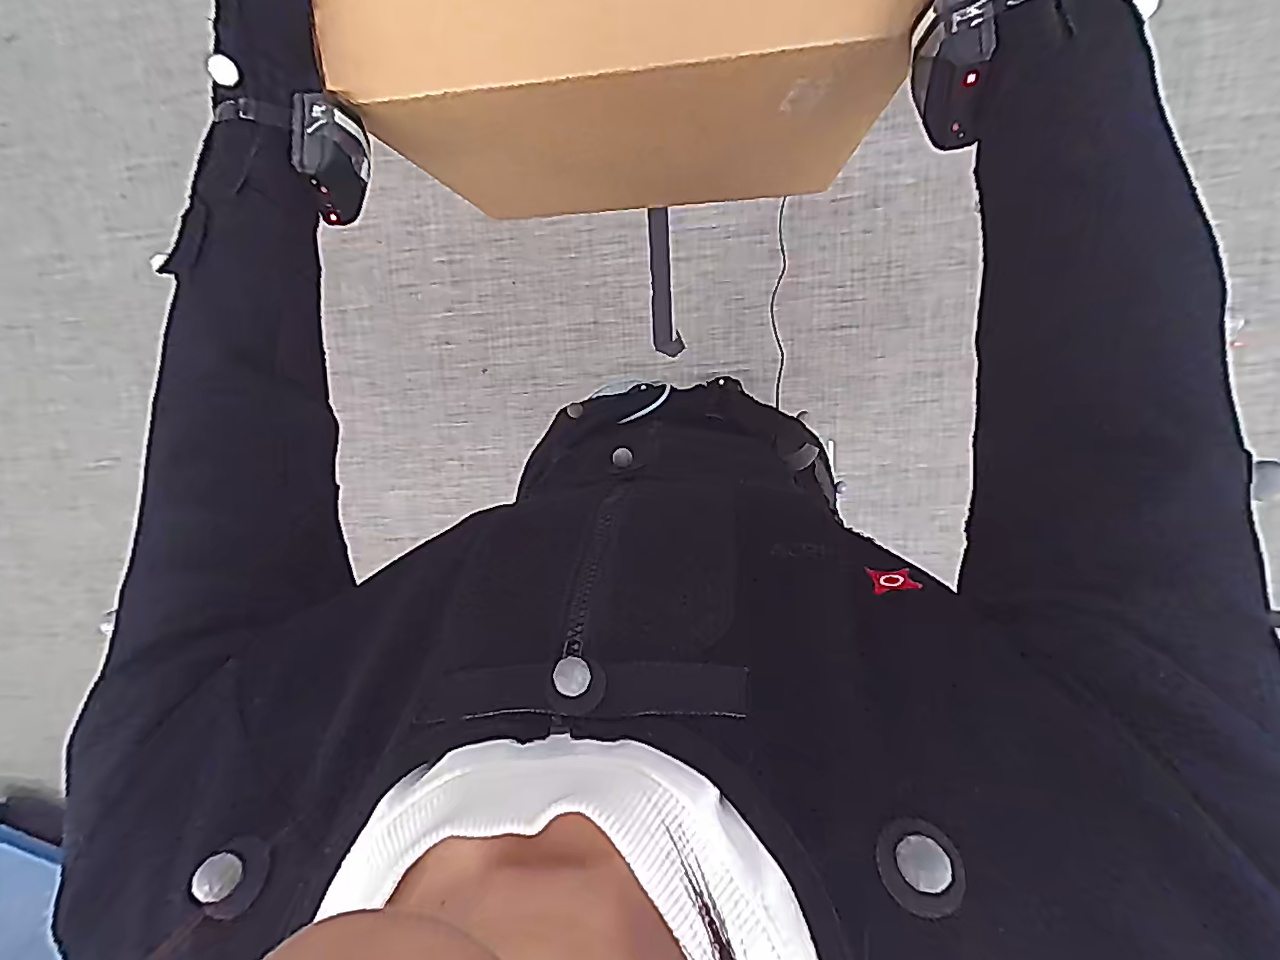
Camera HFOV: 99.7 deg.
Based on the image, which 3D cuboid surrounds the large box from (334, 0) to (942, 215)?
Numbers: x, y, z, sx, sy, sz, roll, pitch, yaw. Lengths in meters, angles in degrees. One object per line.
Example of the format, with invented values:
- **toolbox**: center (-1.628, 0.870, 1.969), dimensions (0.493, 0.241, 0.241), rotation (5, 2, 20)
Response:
- **large box**: center (-0.005, -0.456, 0.475), dimensions (0.408, 0.320, 0.320), rotation (-2, 102, 6)
